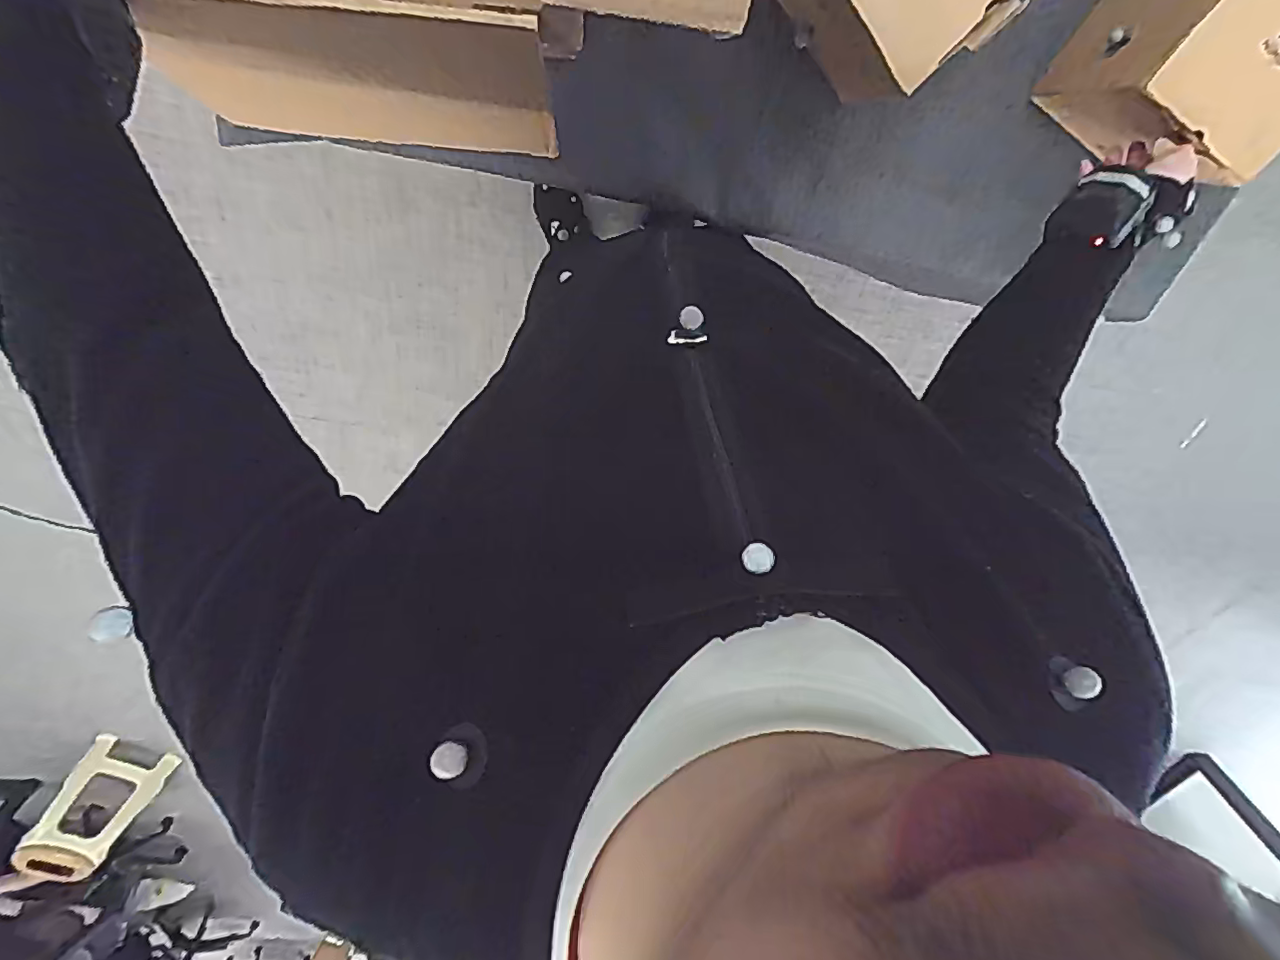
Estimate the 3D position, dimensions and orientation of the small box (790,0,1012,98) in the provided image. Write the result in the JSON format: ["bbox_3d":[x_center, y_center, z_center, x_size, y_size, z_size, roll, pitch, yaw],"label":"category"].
[{"bbox_3d":[0.239,-0.488,0.485,0.168,0.176,0.179,-40,116,23],"label":"small box"}]

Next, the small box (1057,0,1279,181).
[{"bbox_3d":[0.561,-0.426,0.527,0.168,0.176,0.179,23,120,-16],"label":"small box"}]
